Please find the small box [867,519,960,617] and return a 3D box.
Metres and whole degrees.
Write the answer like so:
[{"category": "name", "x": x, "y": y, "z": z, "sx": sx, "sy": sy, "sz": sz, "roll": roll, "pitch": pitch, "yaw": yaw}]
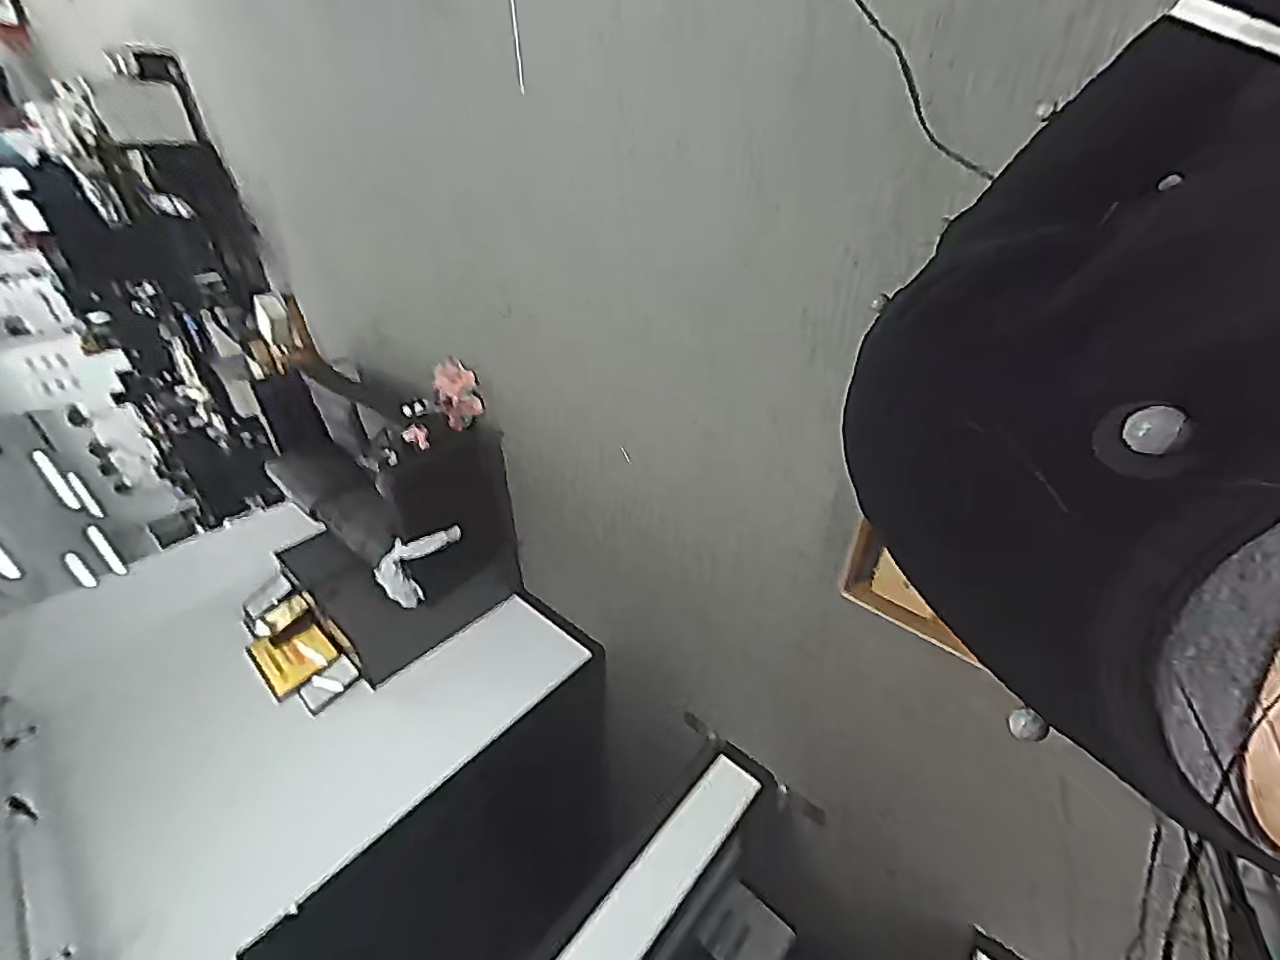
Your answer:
[{"category": "small box", "x": 0.775, "y": 0.243, "z": 1.527, "sx": 0.168, "sy": 0.176, "sz": 0.179, "roll": 27, "pitch": 130, "yaw": 33}]
